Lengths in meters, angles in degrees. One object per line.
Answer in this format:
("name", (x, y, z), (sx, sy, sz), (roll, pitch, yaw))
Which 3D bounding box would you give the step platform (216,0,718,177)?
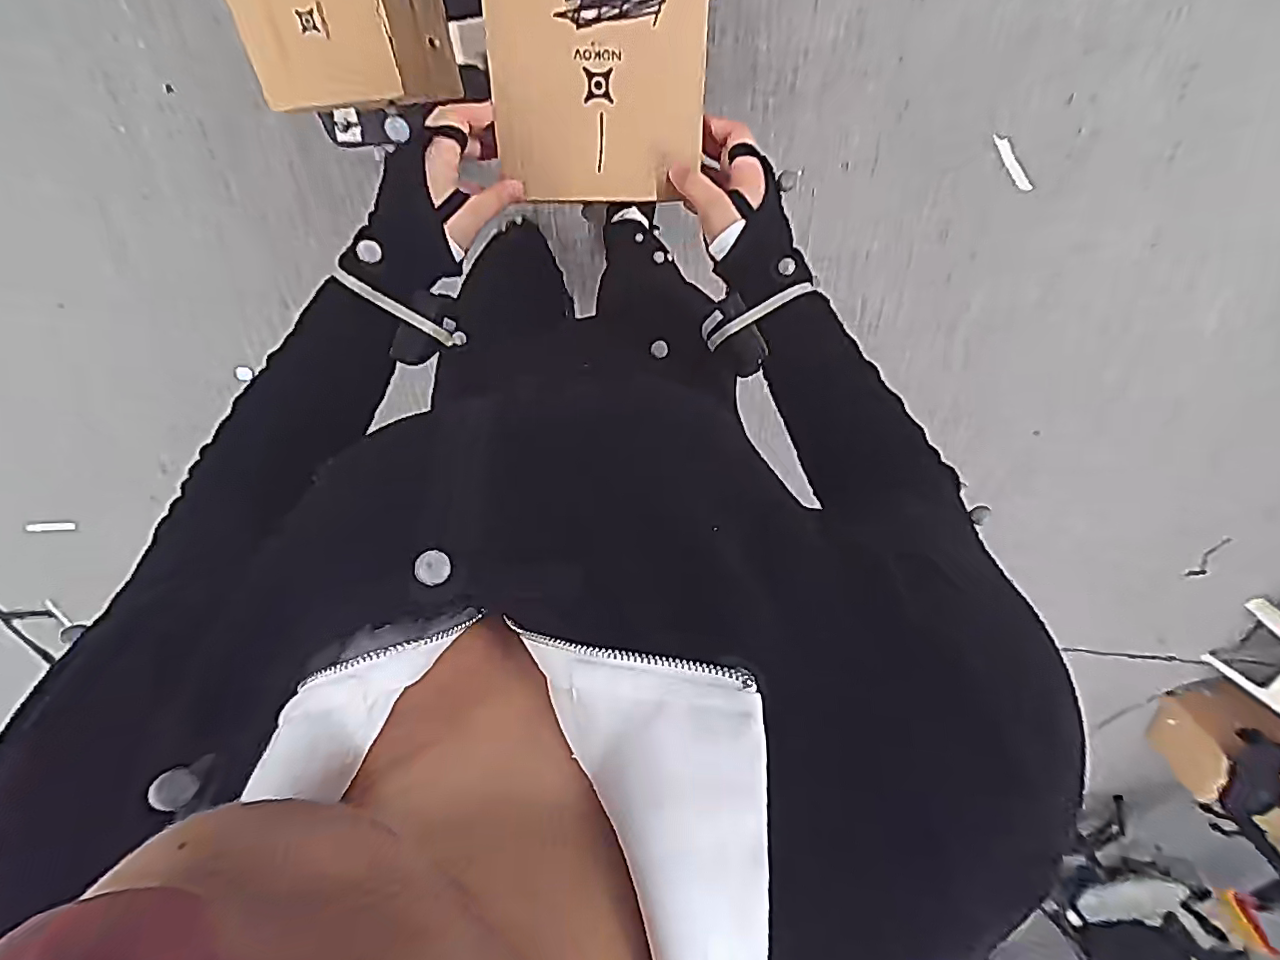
("step platform", (-0.234, -0.655, 0.829), (0.684, 0.204, 0.286), (-4, 125, -1))

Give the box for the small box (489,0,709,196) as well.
("small box", (-0.041, -0.355, 0.483), (0.168, 0.176, 0.179), (-3, 119, -7))

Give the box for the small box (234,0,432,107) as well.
("small box", (-0.389, -0.597, 0.705), (0.179, 0.176, 0.168), (-6, 125, 1))

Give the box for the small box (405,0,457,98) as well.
("small box", (-0.396, -0.693, 0.837), (0.179, 0.176, 0.168), (-5, 126, 1))
